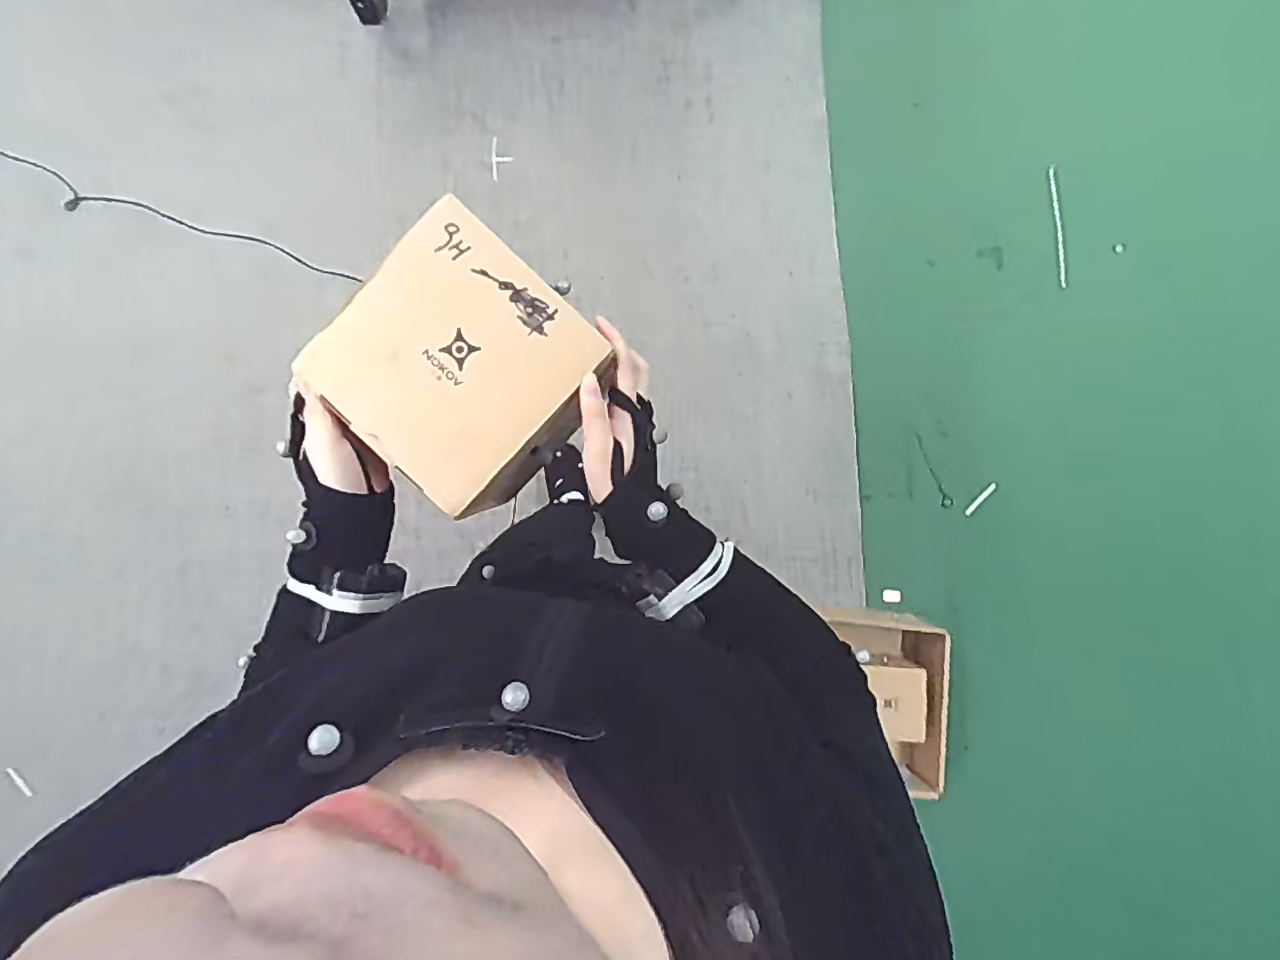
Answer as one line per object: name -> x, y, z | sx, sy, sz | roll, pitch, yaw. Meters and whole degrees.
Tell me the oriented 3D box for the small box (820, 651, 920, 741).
small box -> 0.573, 0.534, 1.359 | 0.179, 0.176, 0.168 | 5, 84, 0
